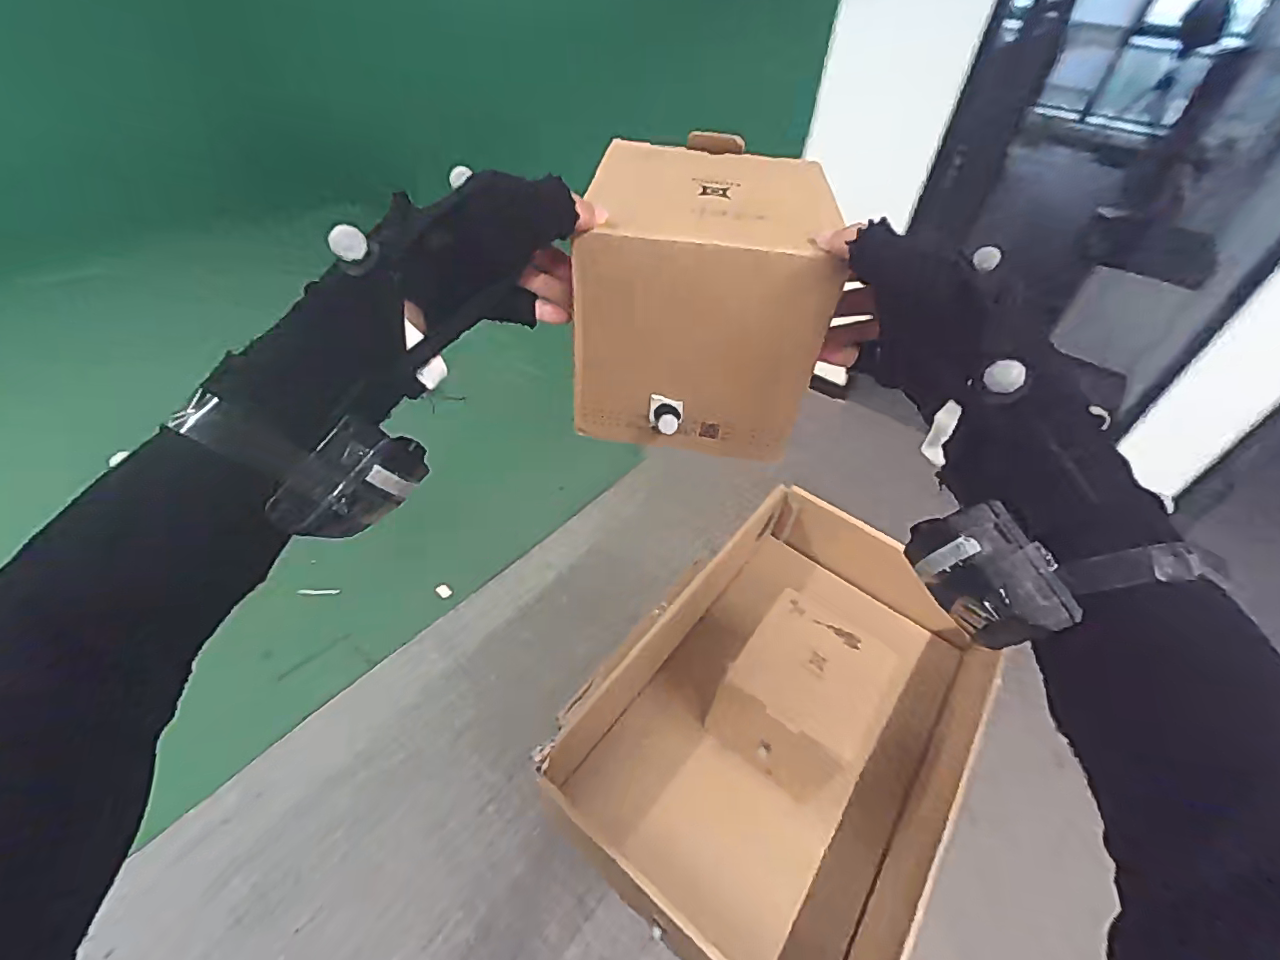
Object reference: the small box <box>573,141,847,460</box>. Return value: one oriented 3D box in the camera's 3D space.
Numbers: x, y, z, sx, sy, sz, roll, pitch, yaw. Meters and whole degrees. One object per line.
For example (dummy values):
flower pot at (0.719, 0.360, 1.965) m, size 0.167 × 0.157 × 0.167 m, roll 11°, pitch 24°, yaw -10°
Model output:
small box at (0.042, -0.141, 0.430) m, size 0.168 × 0.176 × 0.179 m, roll 6°, pitch 48°, yaw 0°
